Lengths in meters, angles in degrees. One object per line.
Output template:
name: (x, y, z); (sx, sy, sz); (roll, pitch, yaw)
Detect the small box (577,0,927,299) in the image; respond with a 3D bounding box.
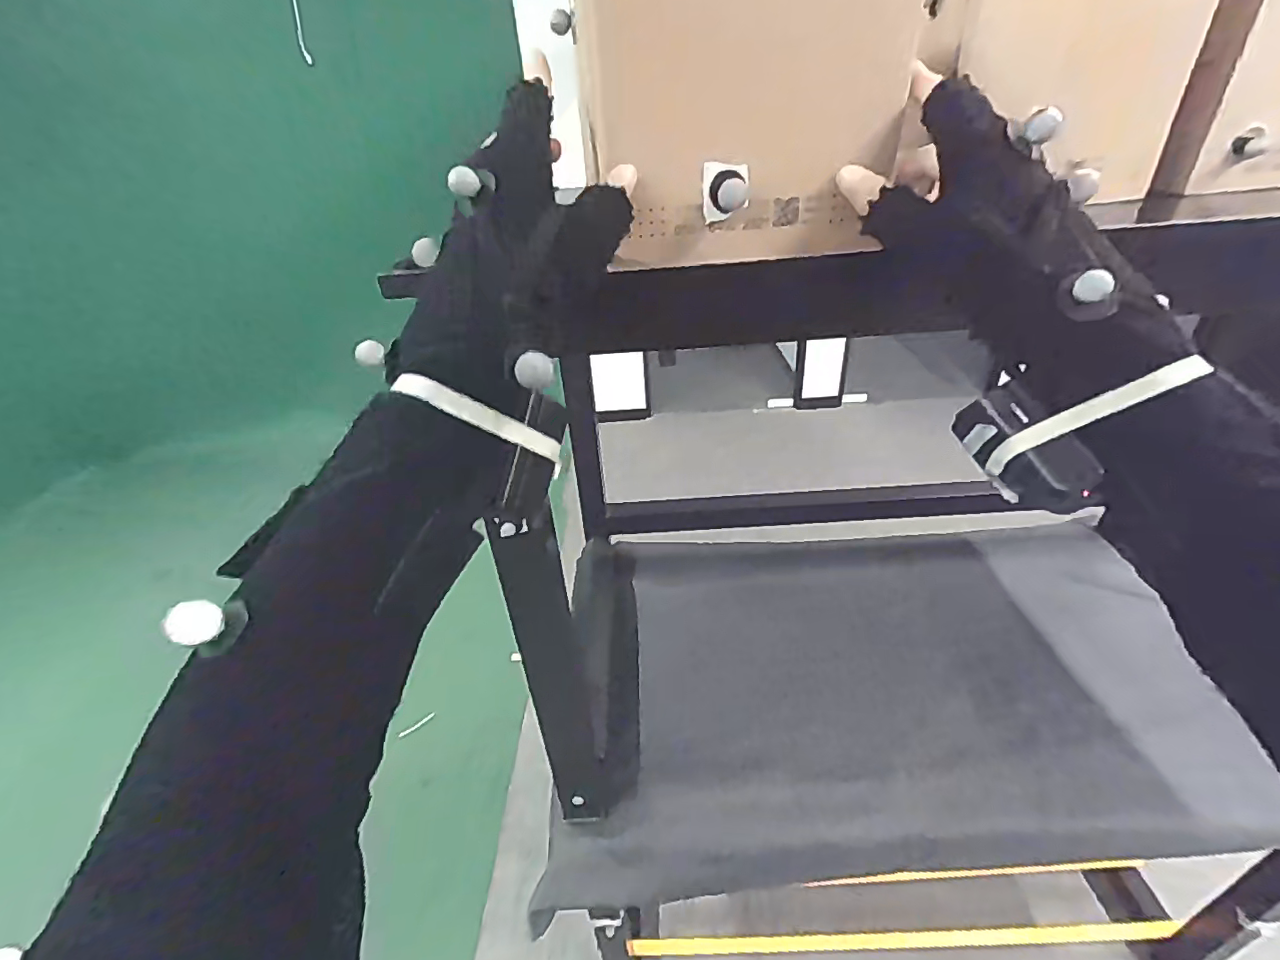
small box: (0.049, -0.224, 0.347); (0.168, 0.176, 0.179); (-7, 33, -3)

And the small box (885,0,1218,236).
small box: (0.288, -0.303, 0.444); (0.168, 0.176, 0.179); (-4, 33, 0)
